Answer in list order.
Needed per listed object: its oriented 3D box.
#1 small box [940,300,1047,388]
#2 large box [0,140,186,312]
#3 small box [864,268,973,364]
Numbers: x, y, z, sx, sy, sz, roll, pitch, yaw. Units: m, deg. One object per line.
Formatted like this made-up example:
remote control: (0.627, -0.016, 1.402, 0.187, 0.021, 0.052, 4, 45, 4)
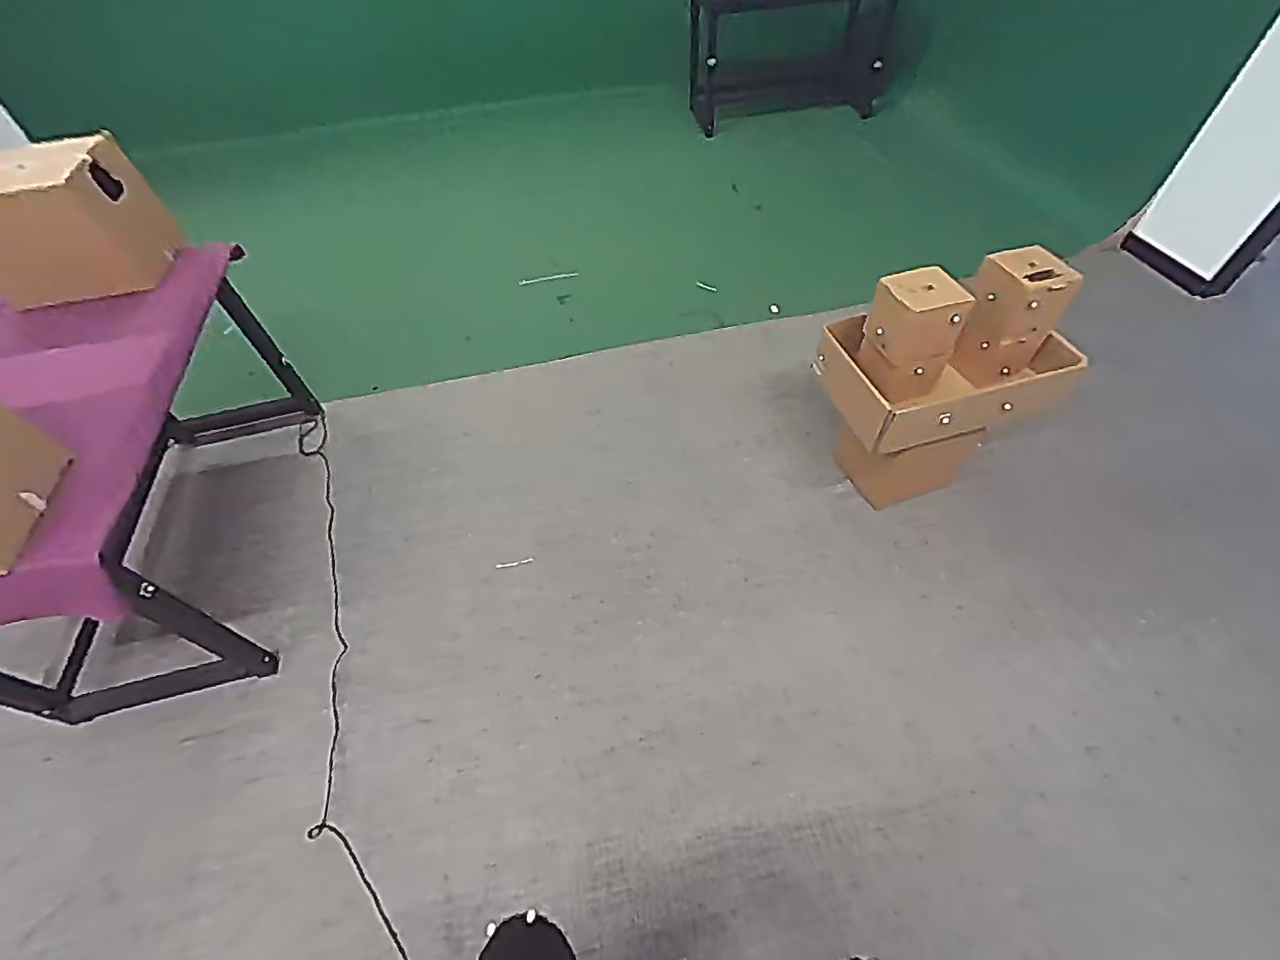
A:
small box: (1.047, -0.406, 1.622, 0.168, 0.176, 0.179, -17, 54, -10)
large box: (-1.664, -0.729, 1.560, 0.408, 0.320, 0.320, -11, 54, -5)
small box: (0.735, -0.437, 1.451, 0.179, 0.176, 0.168, -14, 52, -7)
